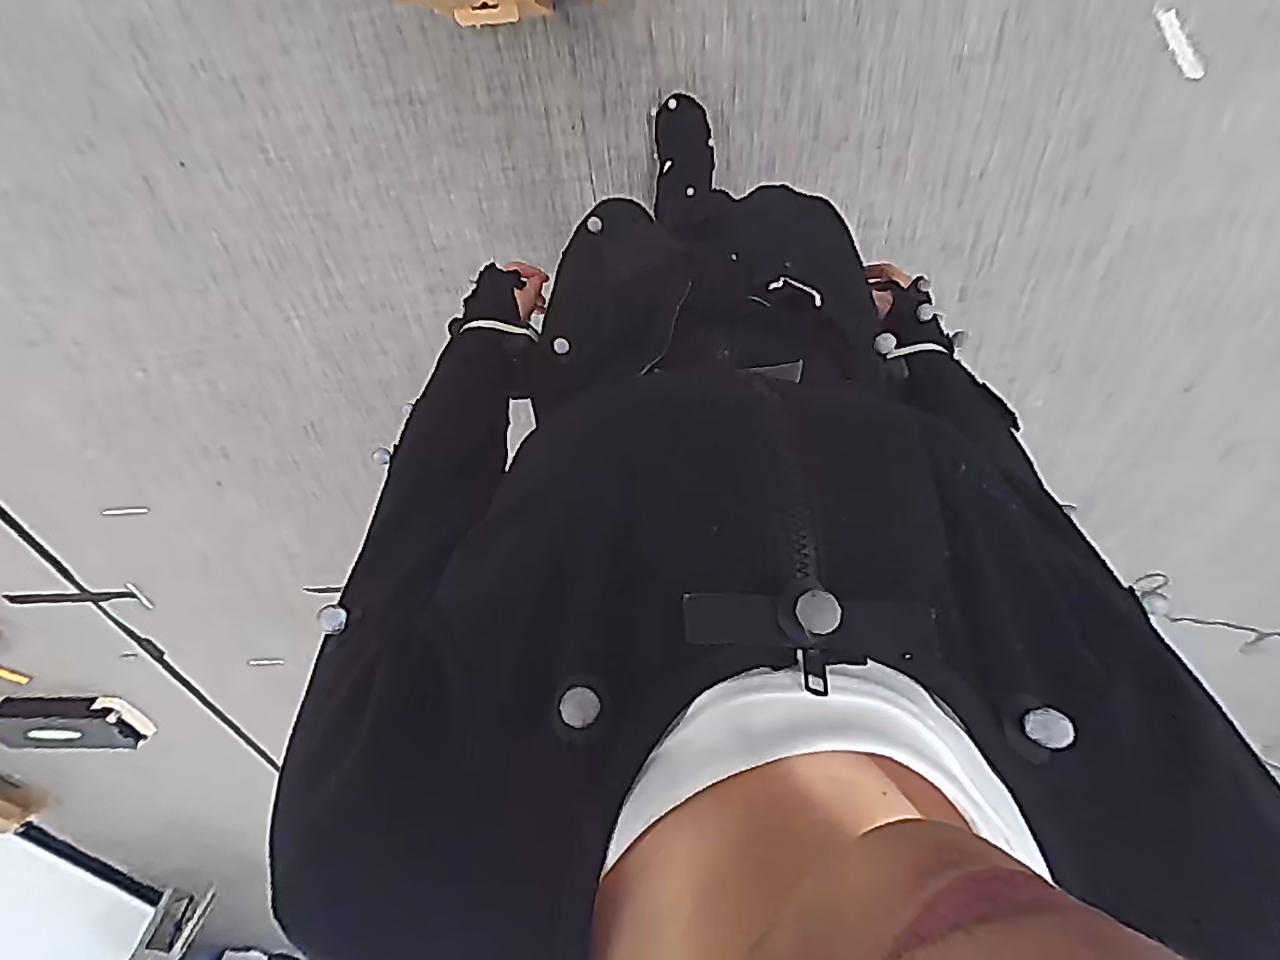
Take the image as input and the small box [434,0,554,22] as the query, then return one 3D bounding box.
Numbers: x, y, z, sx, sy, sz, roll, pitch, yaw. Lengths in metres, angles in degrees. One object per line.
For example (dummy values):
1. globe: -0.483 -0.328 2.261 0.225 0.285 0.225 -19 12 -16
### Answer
1. small box: -0.239 -0.845 0.855 0.168 0.176 0.179 -2 126 4
